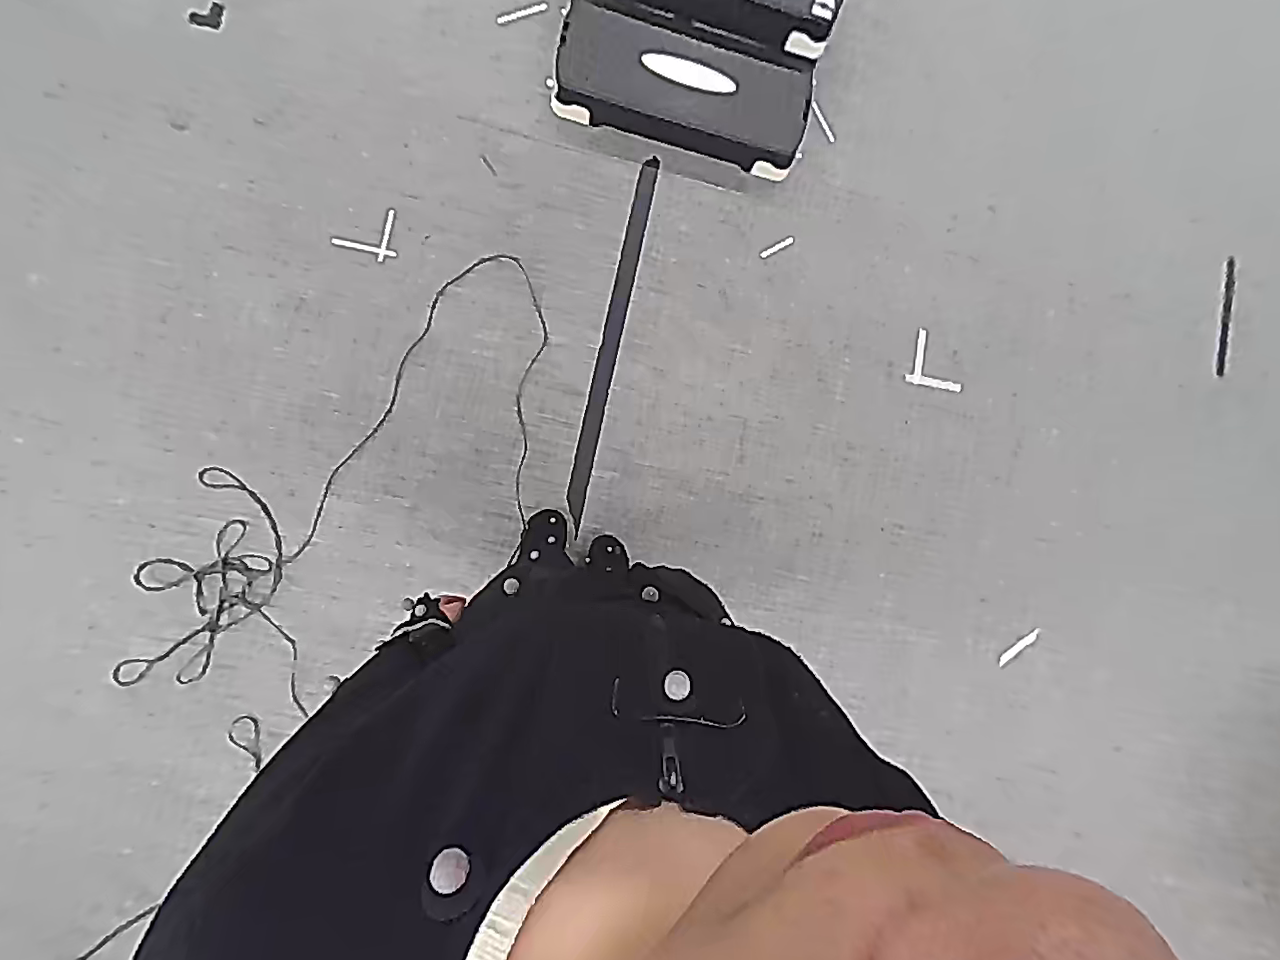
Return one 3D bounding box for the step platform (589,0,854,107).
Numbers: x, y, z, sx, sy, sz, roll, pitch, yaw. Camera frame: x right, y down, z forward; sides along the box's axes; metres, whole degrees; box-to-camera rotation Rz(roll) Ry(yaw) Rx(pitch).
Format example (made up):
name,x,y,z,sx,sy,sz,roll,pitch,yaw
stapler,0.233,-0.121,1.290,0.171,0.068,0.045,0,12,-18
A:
name,x,y,z,sx,sy,sz,roll,pitch,yaw
step platform,0.214,-1.281,1.430,0.684,0.204,0.286,17,84,-7
